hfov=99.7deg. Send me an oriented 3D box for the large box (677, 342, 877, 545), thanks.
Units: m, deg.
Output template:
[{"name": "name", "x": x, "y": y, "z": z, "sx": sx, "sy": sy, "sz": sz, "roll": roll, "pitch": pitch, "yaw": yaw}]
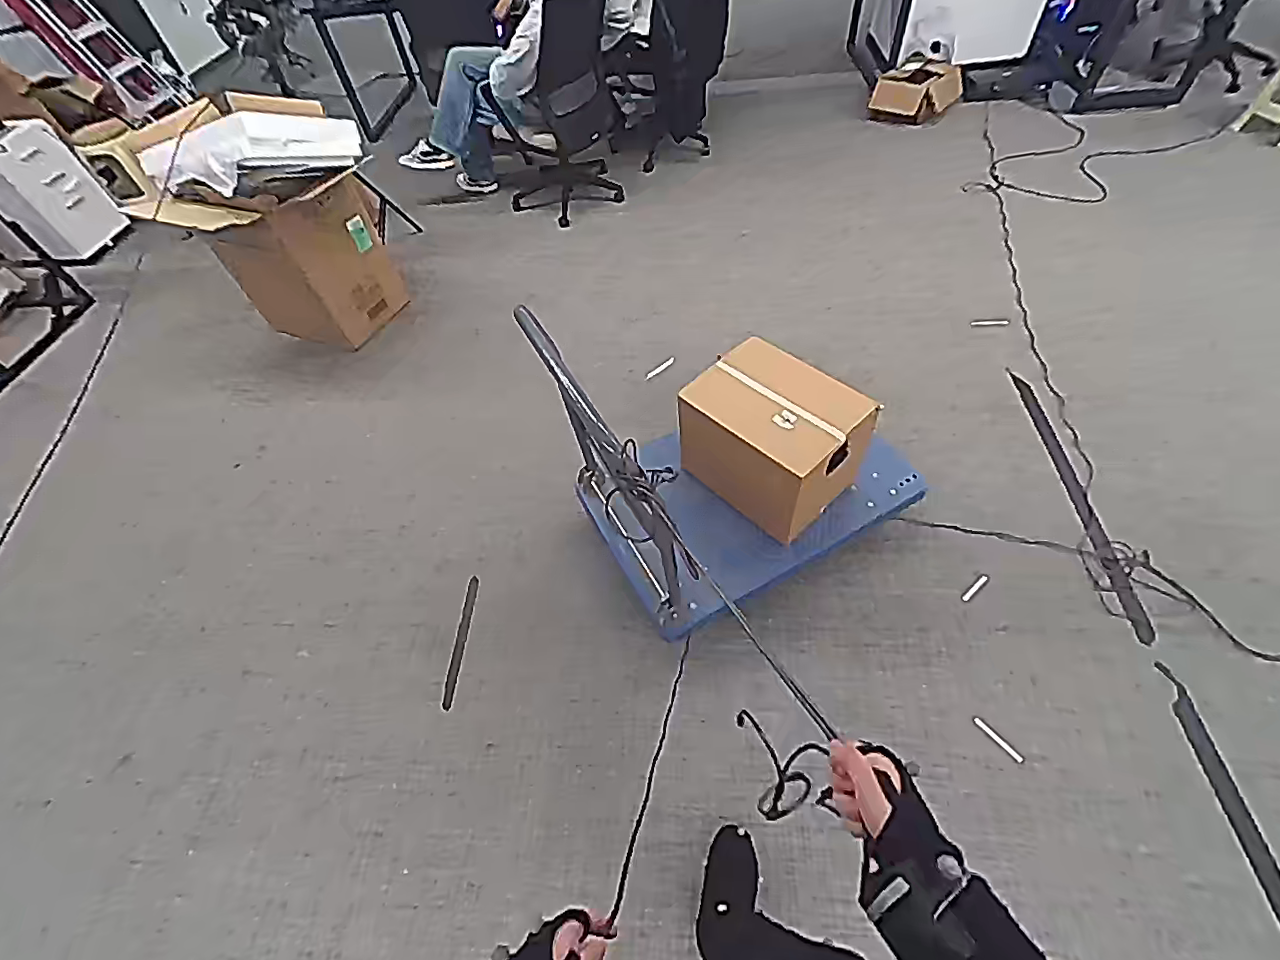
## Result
[{"name": "large box", "x": 0.346, "y": -0.103, "z": 1.477, "sx": 0.320, "sy": 0.320, "sz": 0.408, "roll": -39, "pitch": 59, "yaw": -20}]
